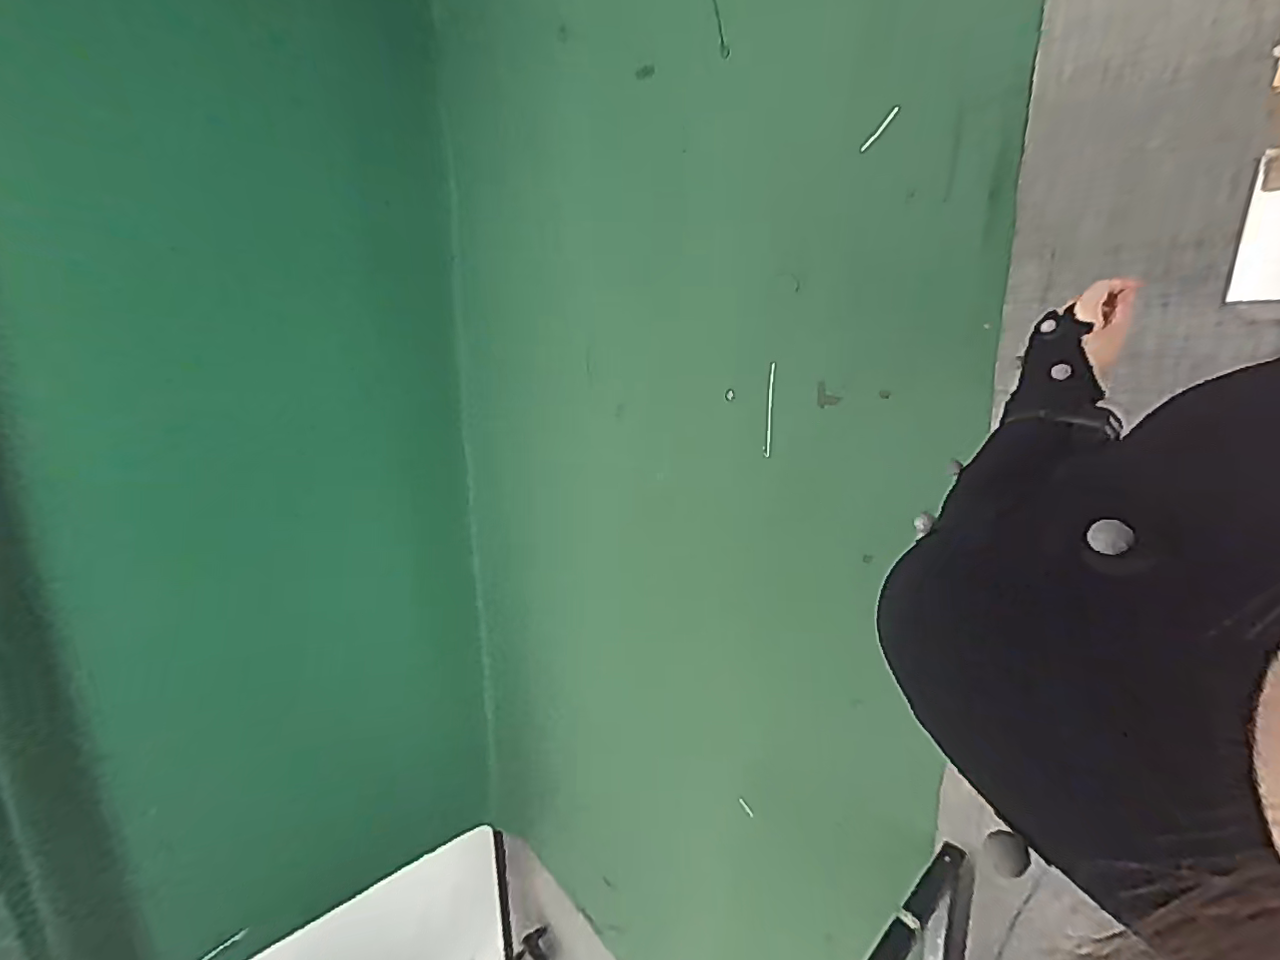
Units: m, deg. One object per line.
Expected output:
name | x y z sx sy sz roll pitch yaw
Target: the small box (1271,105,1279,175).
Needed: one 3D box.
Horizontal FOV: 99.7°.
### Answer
small box | 0.684 -0.380 0.462 0.168 0.176 0.179 16 112 46
